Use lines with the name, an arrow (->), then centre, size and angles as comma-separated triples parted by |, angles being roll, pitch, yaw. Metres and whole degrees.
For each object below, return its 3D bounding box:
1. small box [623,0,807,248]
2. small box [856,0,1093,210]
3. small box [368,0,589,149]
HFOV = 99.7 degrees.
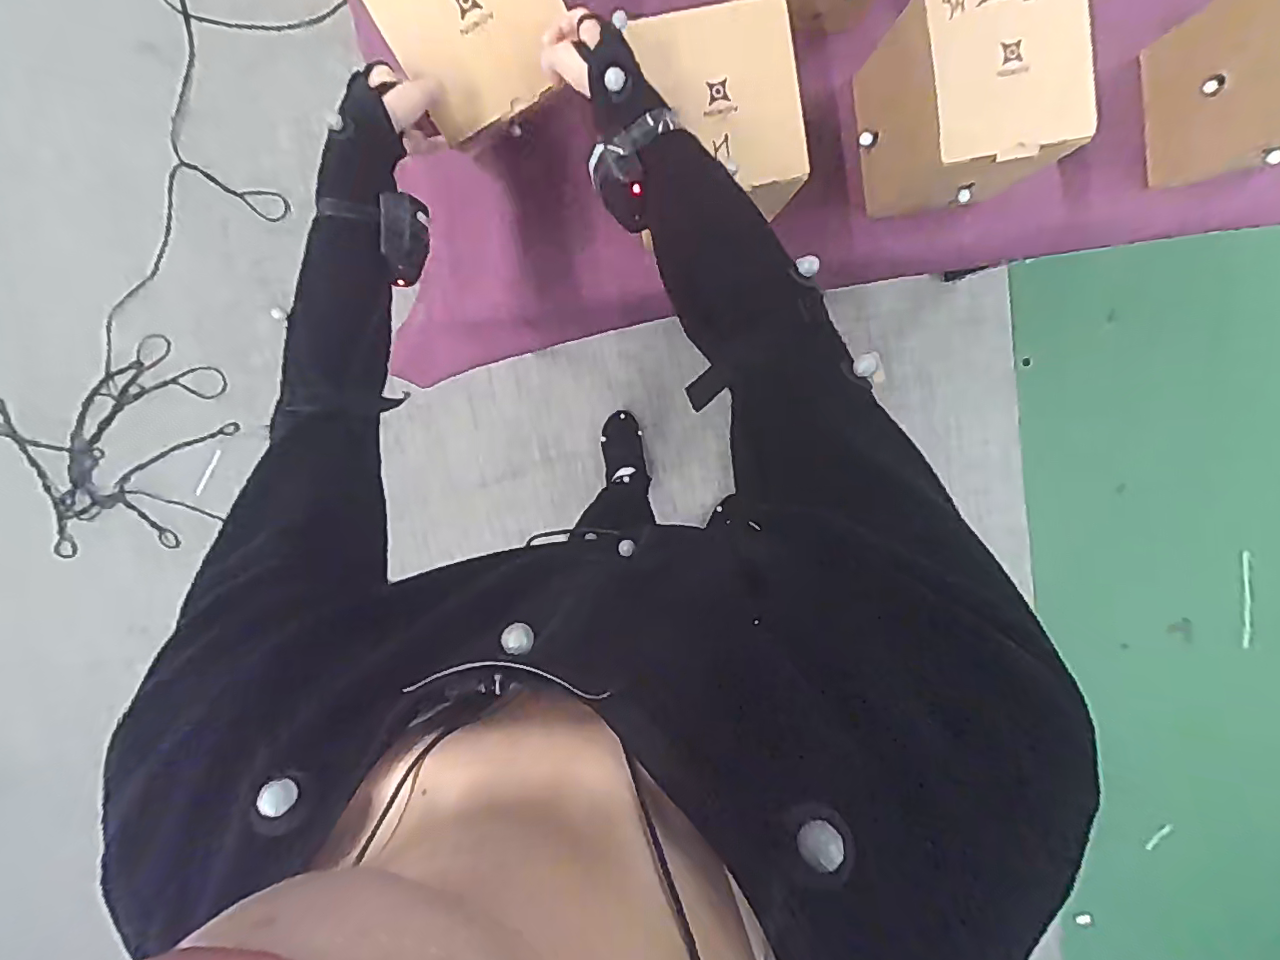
small box -> 0.073, -0.388, 0.615 | 0.168, 0.176, 0.179 | -11, 99, 0
small box -> 0.369, -0.431, 0.622 | 0.168, 0.176, 0.179 | -10, 99, -2
small box -> -0.171, -0.475, 0.562 | 0.168, 0.176, 0.179 | -27, 121, 4
